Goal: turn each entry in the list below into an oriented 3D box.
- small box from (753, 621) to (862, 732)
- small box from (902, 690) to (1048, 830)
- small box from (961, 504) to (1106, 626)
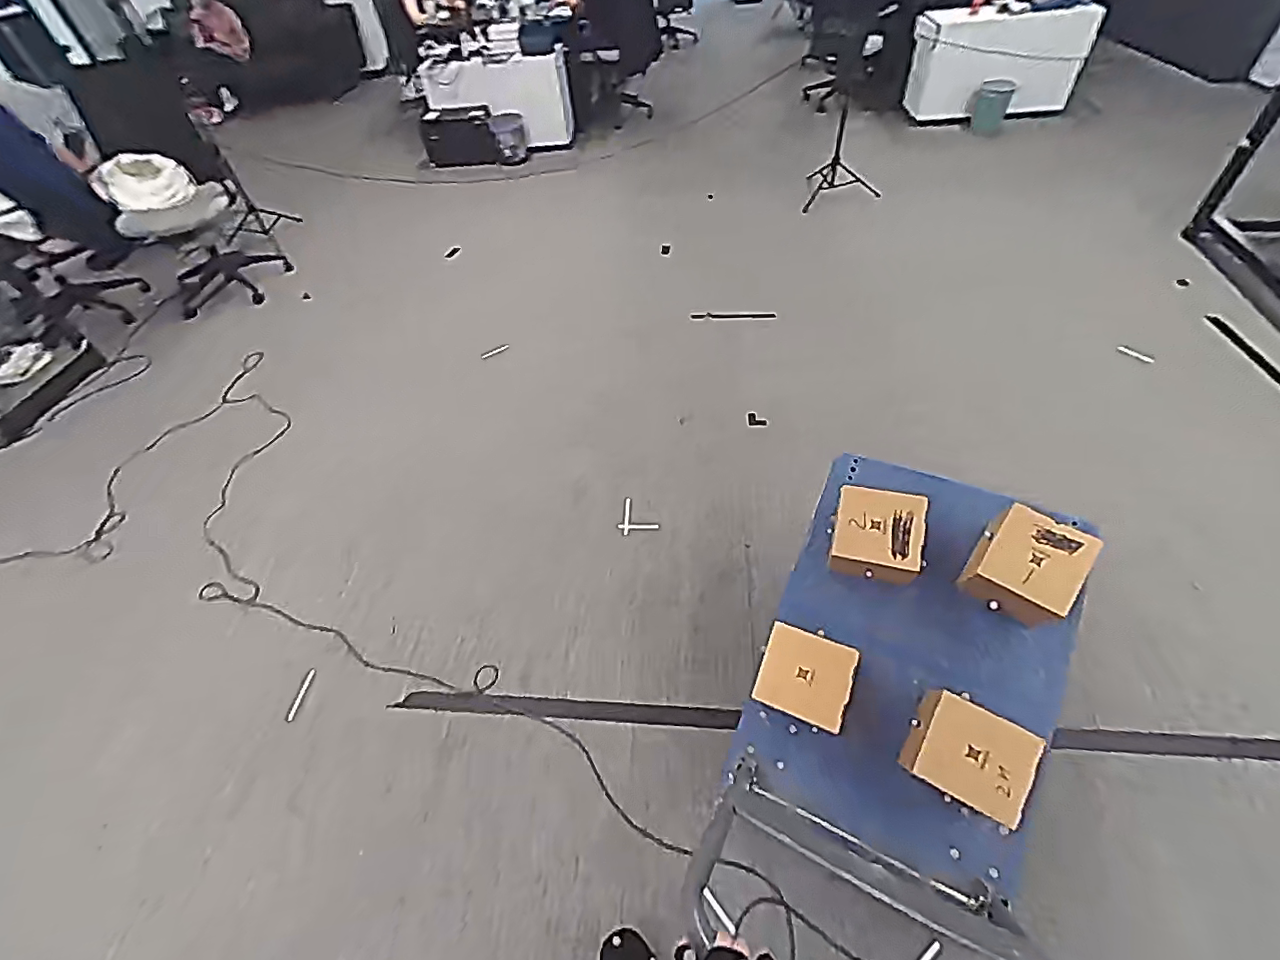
[{"bbox_3d":[0.355,0.421,1.161,0.179,0.176,0.168,17,74,19],"label":"small box"},{"bbox_3d":[0.630,0.527,1.040,0.179,0.176,0.168,25,78,23],"label":"small box"},{"bbox_3d":[0.805,0.182,1.128,0.168,0.176,0.179,31,81,24],"label":"small box"}]
